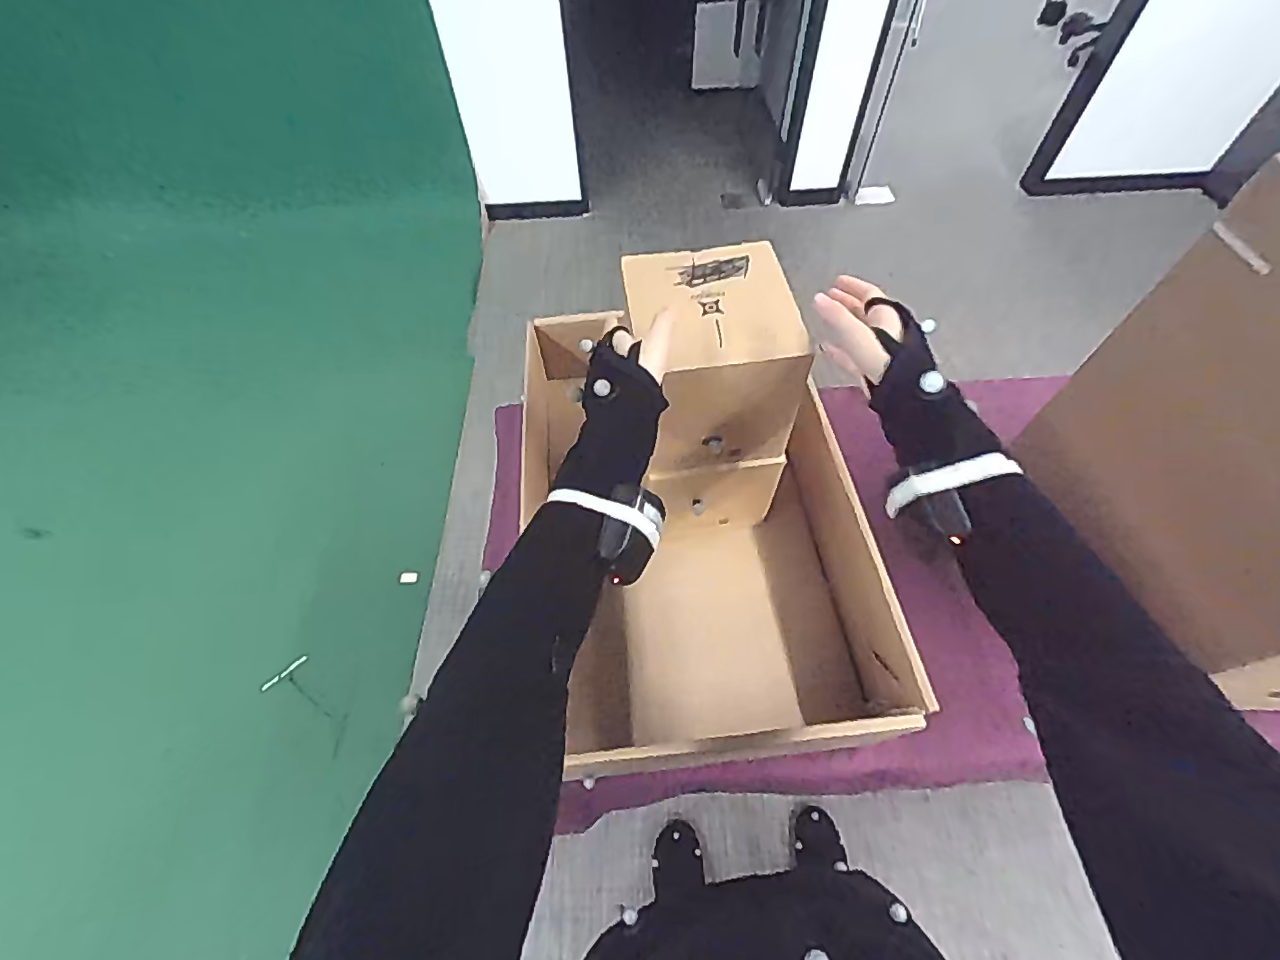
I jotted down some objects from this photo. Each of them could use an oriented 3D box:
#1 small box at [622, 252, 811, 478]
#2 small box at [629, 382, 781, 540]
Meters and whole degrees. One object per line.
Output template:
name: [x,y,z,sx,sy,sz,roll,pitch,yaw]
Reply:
small box: [0.072,-0.125,0.610,0.168,0.176,0.179,-8,58,-1]
small box: [0.081,-0.029,0.745,0.168,0.176,0.179,-9,57,-2]
